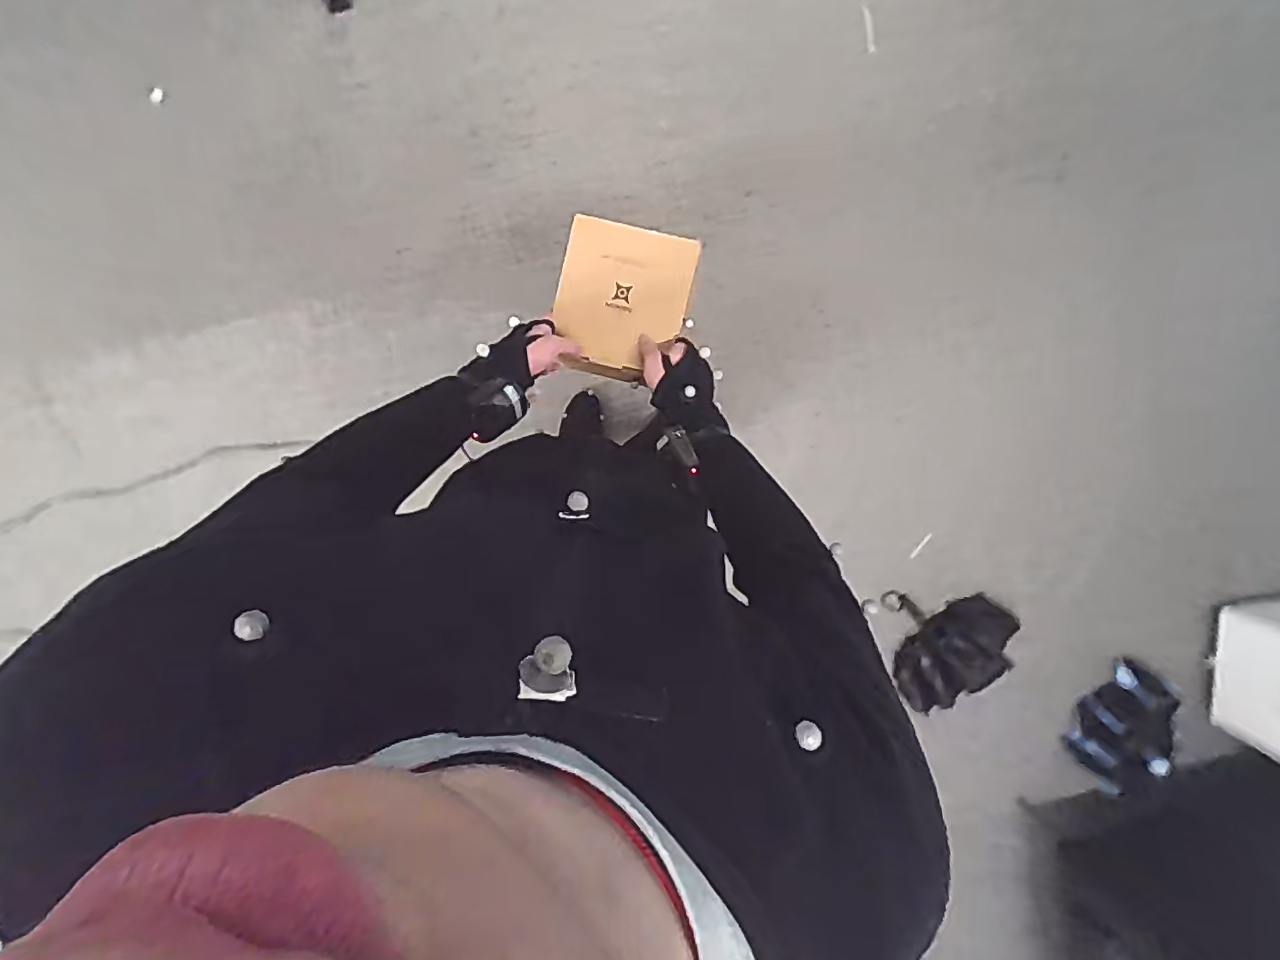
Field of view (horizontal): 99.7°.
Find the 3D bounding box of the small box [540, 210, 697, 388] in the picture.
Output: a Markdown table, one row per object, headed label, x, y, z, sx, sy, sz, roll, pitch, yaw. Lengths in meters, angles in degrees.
| label | x | y | z | sx | sy | sz | roll | pitch | yaw |
| --- | --- | --- | --- | --- | --- | --- | --- | --- | --- |
| small box | -0.023 | -0.233 | 0.744 | 0.168 | 0.176 | 0.179 | 13 | 93 | 2 |
